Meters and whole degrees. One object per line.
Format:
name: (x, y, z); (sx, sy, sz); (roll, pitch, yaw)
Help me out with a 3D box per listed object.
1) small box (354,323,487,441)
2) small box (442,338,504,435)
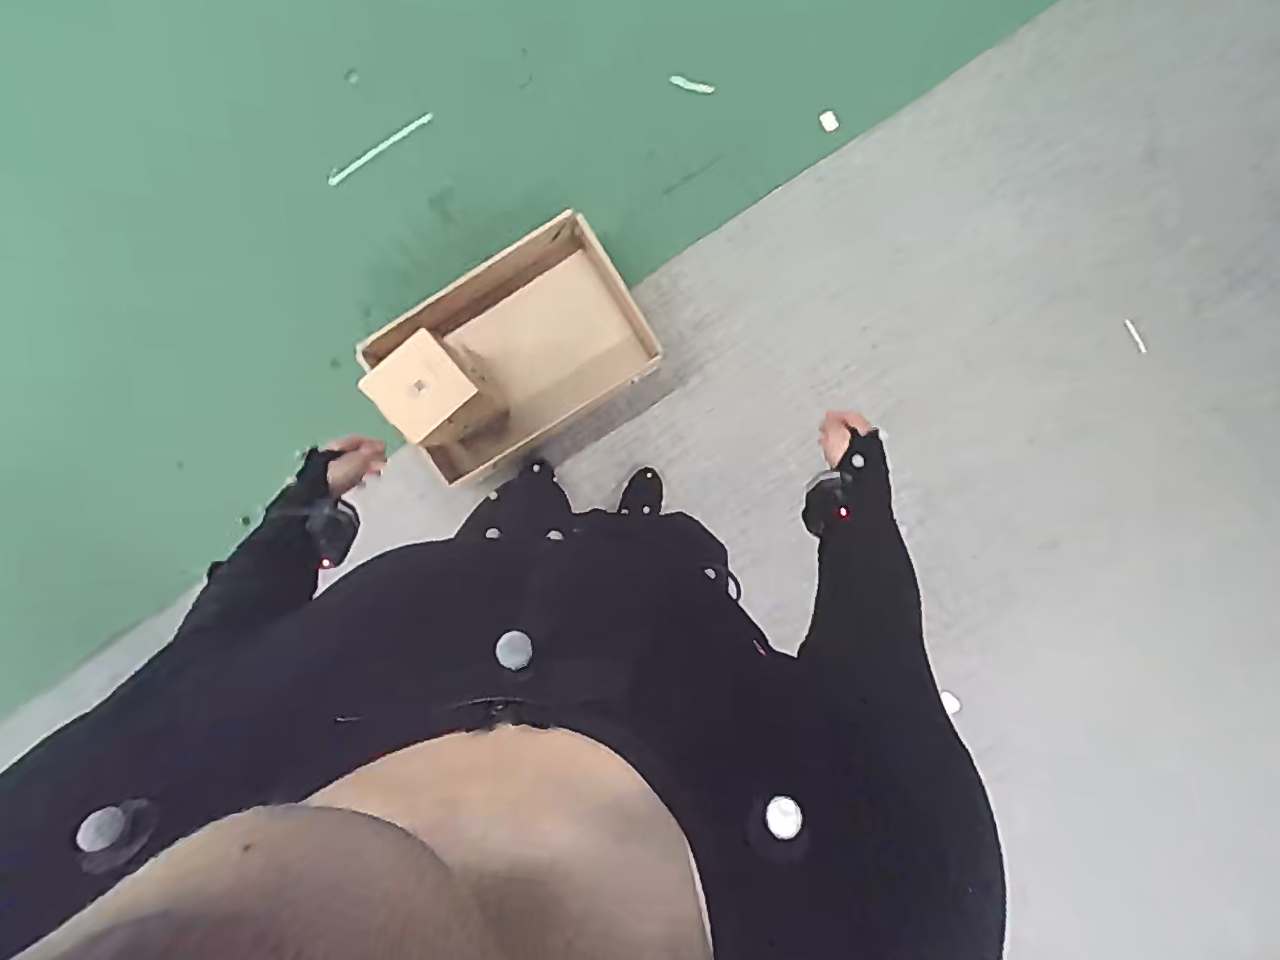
small box: (-0.449, -0.198, 1.143); (0.179, 0.176, 0.168); (-42, 97, -1)
small box: (-0.454, -0.216, 1.306); (0.179, 0.176, 0.168); (-31, 97, 1)
